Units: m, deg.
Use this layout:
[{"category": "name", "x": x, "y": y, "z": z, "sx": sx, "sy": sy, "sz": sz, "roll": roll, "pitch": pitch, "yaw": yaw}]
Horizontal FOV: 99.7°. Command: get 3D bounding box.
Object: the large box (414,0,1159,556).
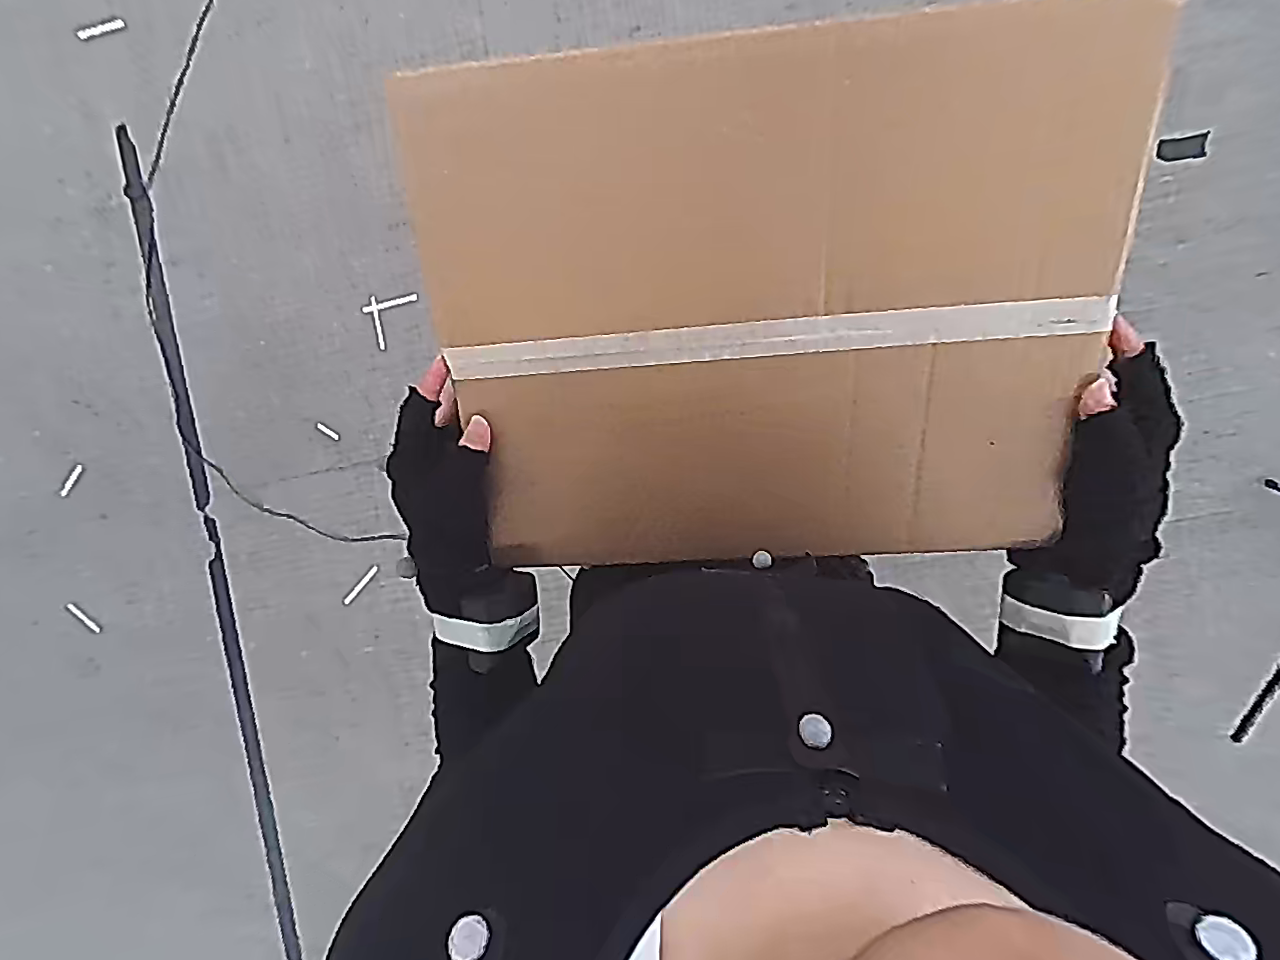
[{"category": "large box", "x": 0.085, "y": -0.148, "z": 0.482, "sx": 0.408, "sy": 0.320, "sz": 0.320, "roll": -2, "pitch": 113, "yaw": 5}]
